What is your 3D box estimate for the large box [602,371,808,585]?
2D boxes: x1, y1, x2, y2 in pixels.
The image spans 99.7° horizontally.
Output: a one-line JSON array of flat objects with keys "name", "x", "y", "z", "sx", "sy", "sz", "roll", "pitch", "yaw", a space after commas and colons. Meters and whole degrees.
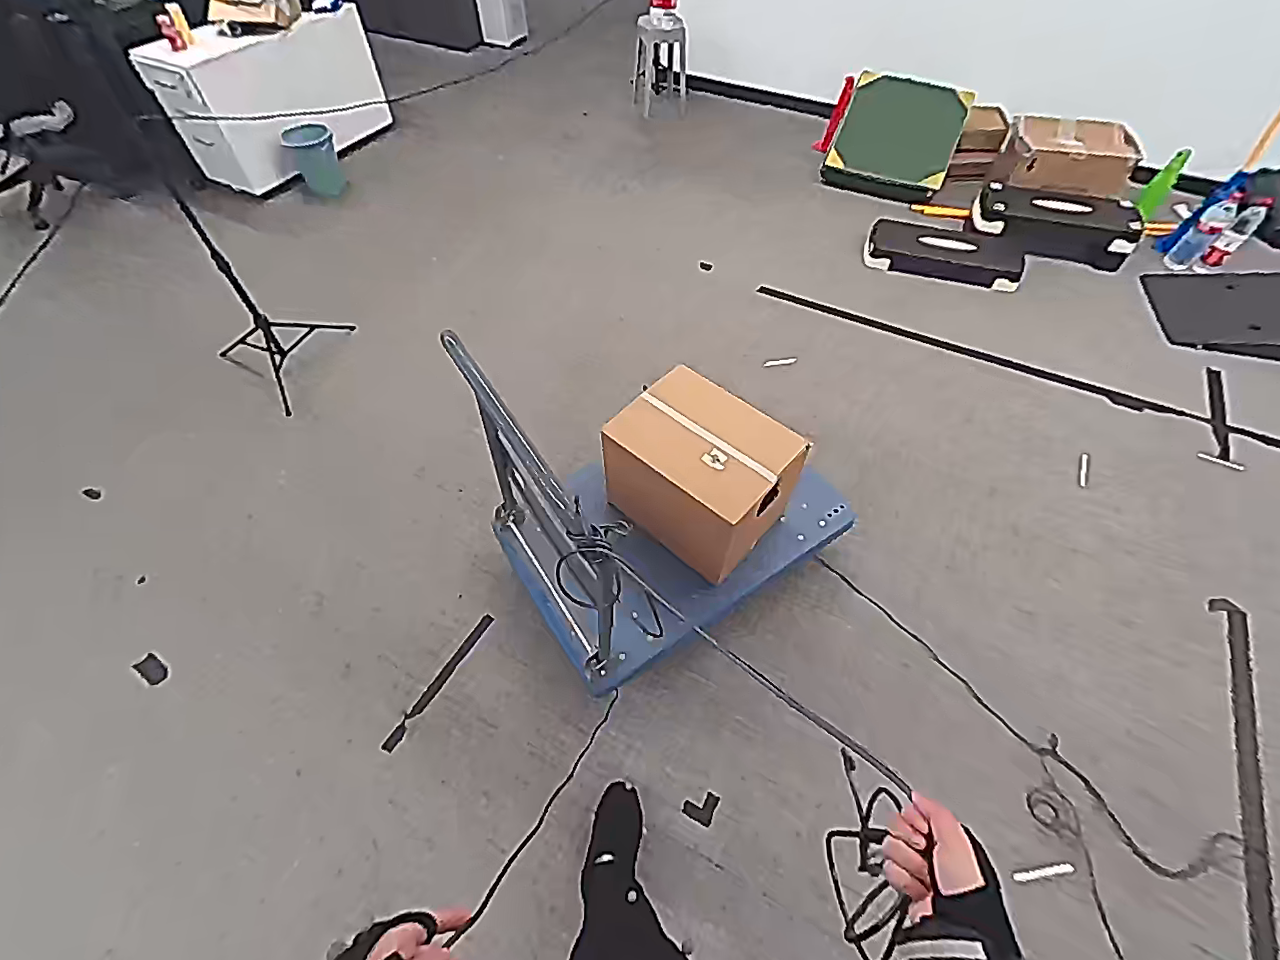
[{"name": "large box", "x": 0.149, "y": -0.008, "z": 1.409, "sx": 0.408, "sy": 0.320, "sz": 0.320, "roll": 36, "pitch": 62, "yaw": 22}]
